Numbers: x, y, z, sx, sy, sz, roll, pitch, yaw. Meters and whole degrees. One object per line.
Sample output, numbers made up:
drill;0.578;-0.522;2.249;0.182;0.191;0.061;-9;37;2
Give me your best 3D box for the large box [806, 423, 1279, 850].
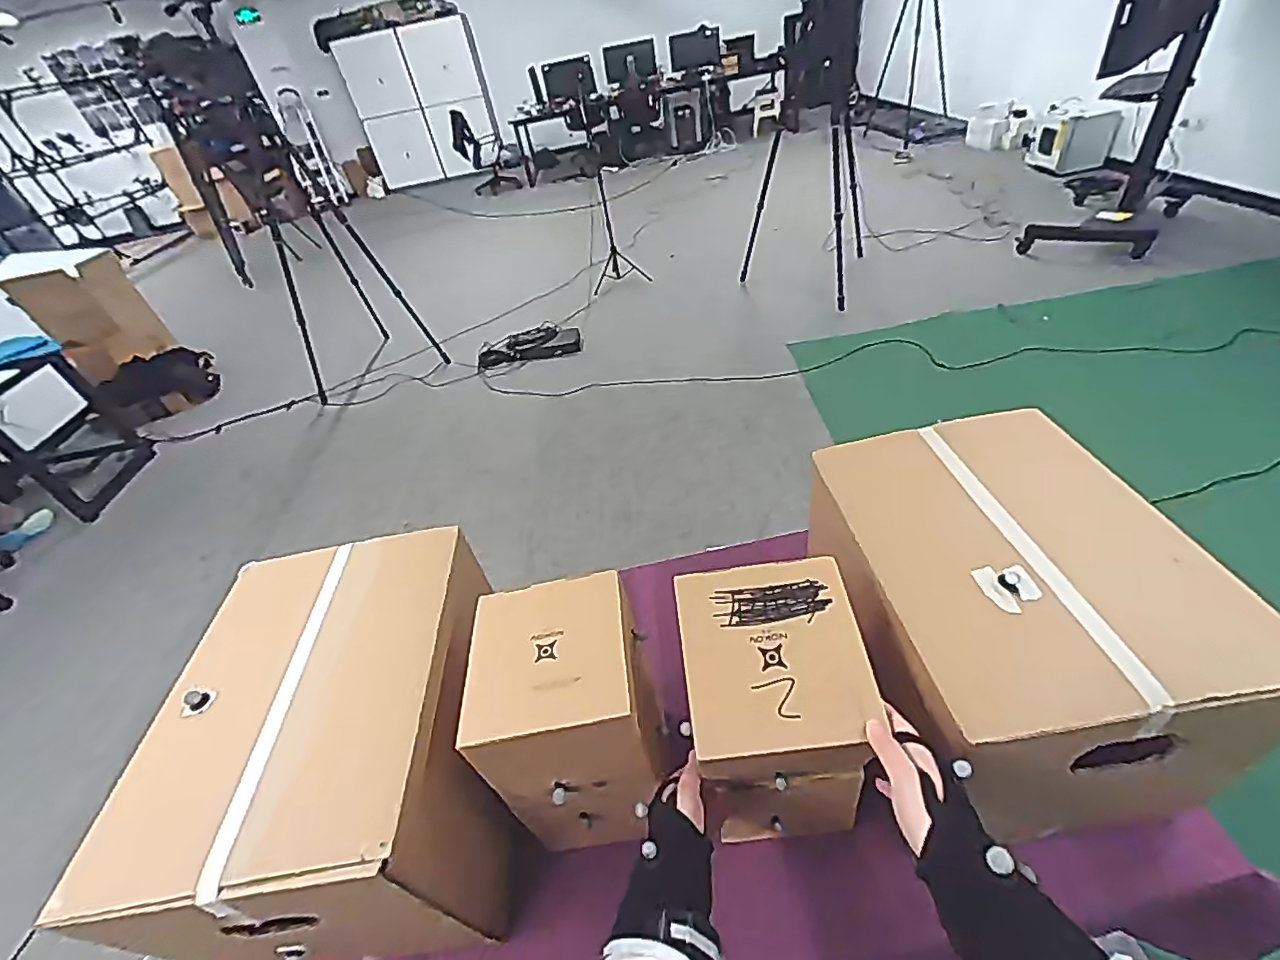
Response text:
large box;0.436;0.183;0.697;0.320;0.320;0.408;-10;41;2
